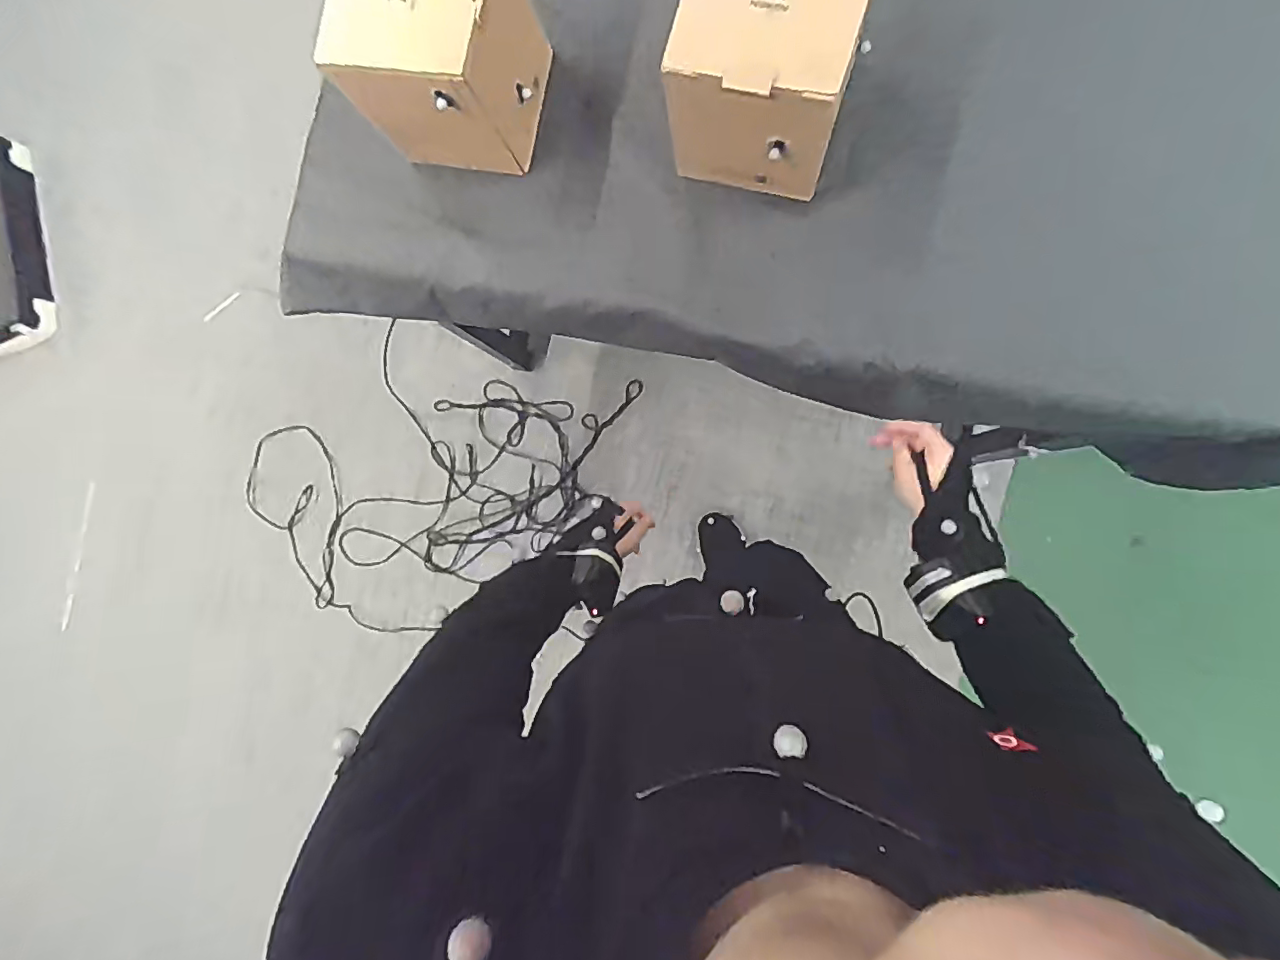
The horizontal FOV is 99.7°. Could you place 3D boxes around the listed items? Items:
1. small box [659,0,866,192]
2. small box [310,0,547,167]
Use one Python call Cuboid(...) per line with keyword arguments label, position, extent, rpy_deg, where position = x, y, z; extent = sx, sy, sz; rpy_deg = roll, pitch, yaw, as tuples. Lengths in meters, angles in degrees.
Cuboid(label="small box", position=(0.130, -0.436, 0.562), extent=(0.168, 0.176, 0.179), rpy_deg=(16, 90, 9))
Cuboid(label="small box", position=(-0.229, -0.492, 0.623), extent=(0.179, 0.176, 0.168), rpy_deg=(11, 90, 9))
